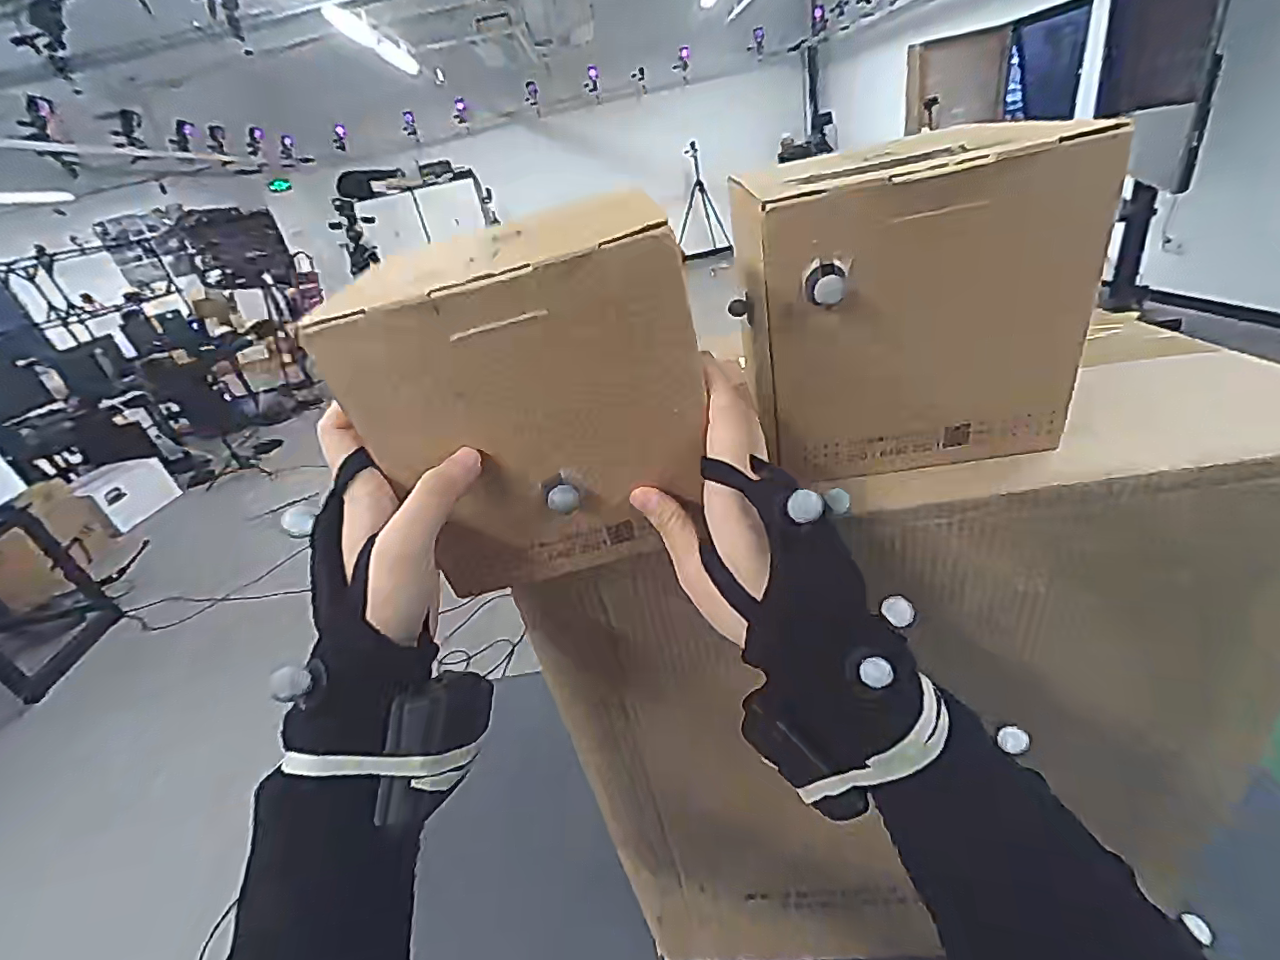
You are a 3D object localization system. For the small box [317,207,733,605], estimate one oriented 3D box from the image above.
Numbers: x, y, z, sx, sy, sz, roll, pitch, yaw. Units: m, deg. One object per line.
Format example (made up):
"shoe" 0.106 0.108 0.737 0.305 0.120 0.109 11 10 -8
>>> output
"small box" -0.048 -0.053 0.339 0.168 0.176 0.179 -15 32 4
